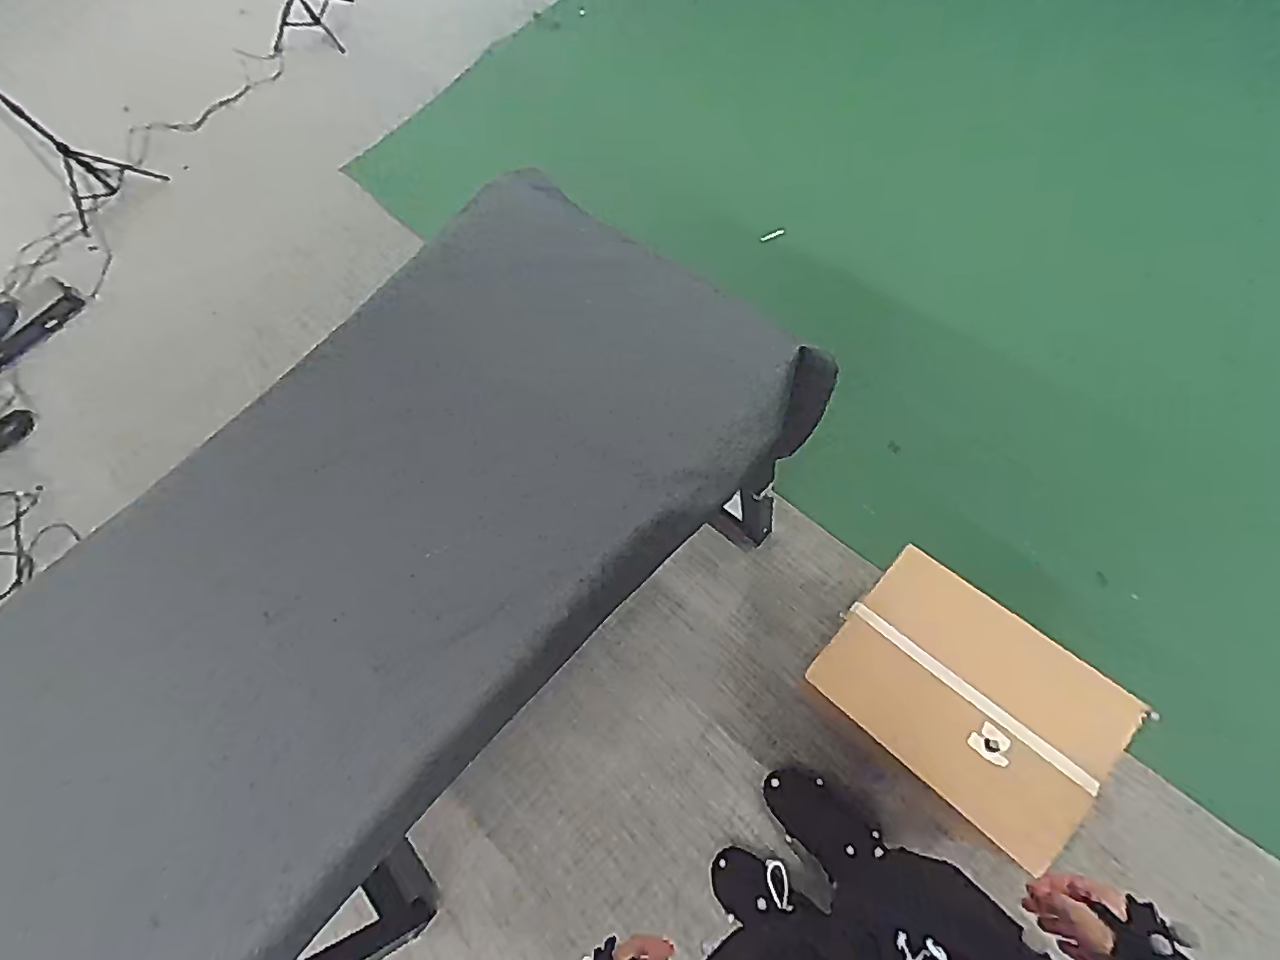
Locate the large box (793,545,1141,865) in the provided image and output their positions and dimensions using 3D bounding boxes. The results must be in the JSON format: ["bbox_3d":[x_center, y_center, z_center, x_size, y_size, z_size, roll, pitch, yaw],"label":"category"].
[{"bbox_3d":[0.550,0.392,1.009,0.408,0.320,0.320,39,79,24],"label":"large box"}]
